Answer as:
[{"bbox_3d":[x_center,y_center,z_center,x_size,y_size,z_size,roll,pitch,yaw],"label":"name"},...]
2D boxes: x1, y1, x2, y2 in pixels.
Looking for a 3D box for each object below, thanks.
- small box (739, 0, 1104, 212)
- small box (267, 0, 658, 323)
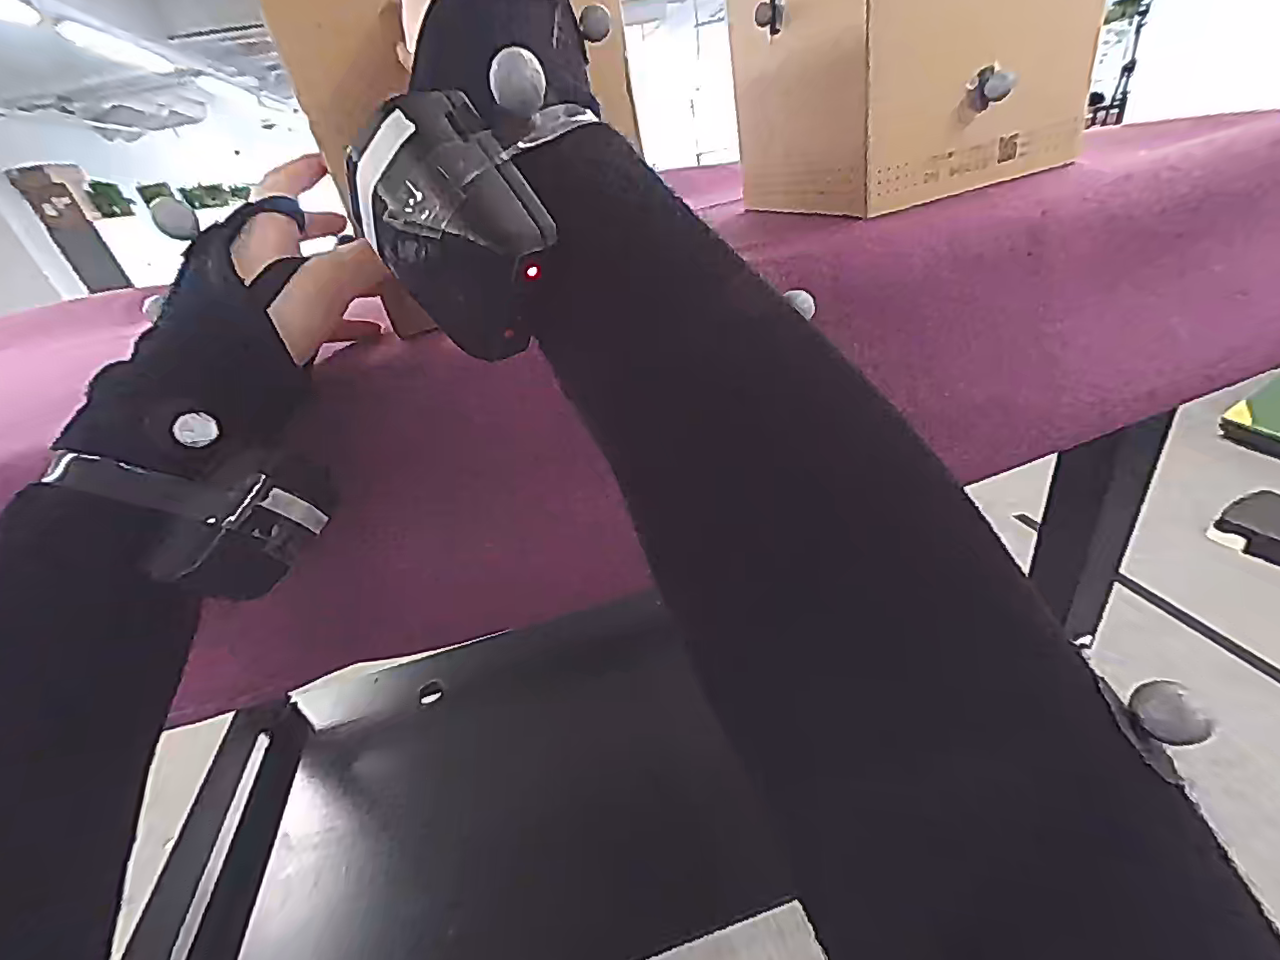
[{"bbox_3d":[0.181,-0.298,0.385,0.168,0.176,0.179,-18,31,-9],"label":"small box"},{"bbox_3d":[-0.102,-0.212,0.347,0.168,0.176,0.179,-21,32,-15],"label":"small box"}]
